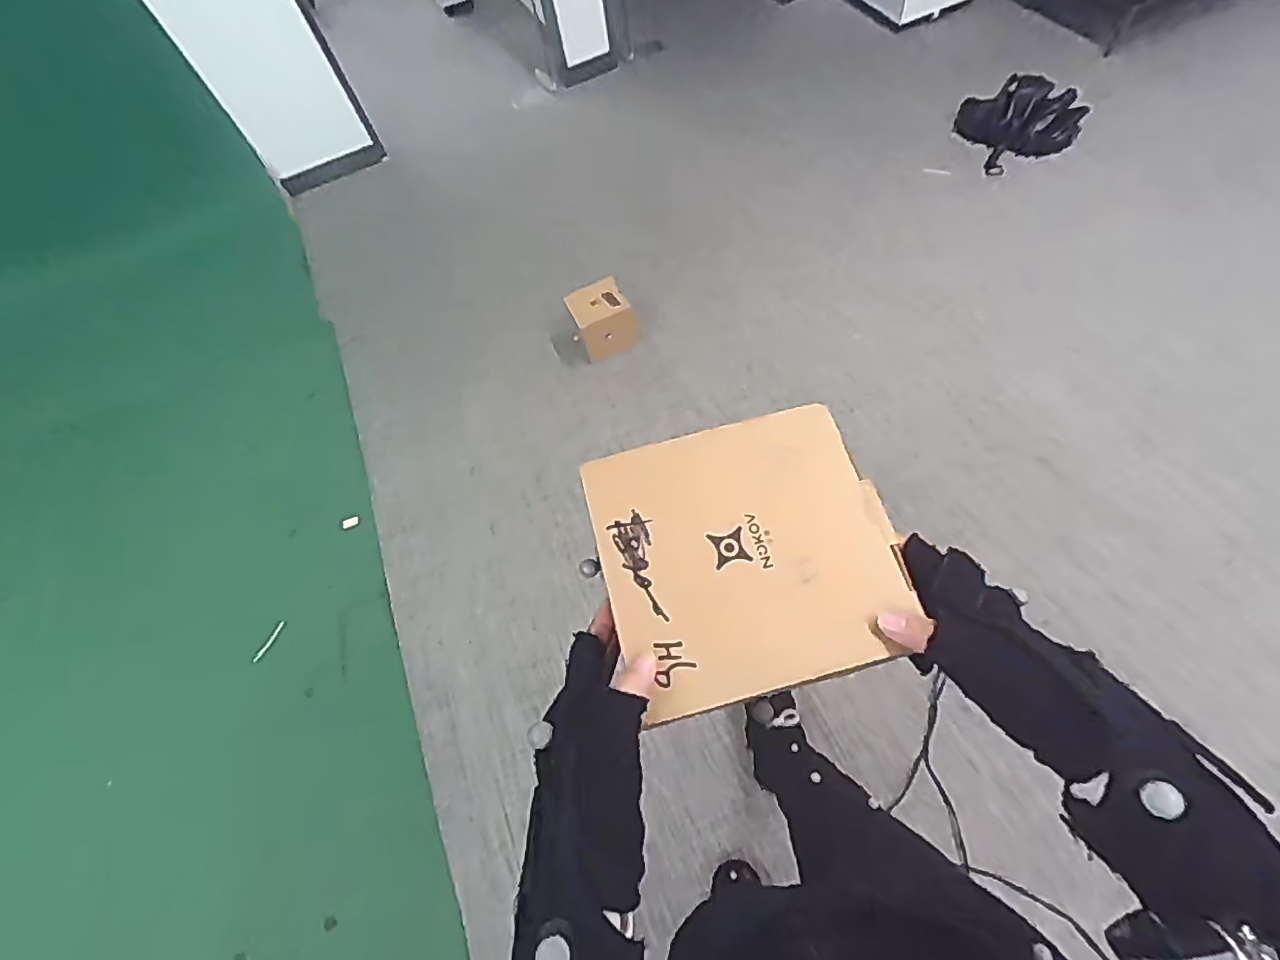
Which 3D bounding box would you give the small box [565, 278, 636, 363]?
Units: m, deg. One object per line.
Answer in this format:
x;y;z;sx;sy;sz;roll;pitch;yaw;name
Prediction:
-0.124;-0.521;1.779;0.179;0.176;0.168;-26;62;-4;small box

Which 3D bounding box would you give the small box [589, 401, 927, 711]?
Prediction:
0.067;0.068;0.410;0.179;0.176;0.168;-13;65;-4;small box
